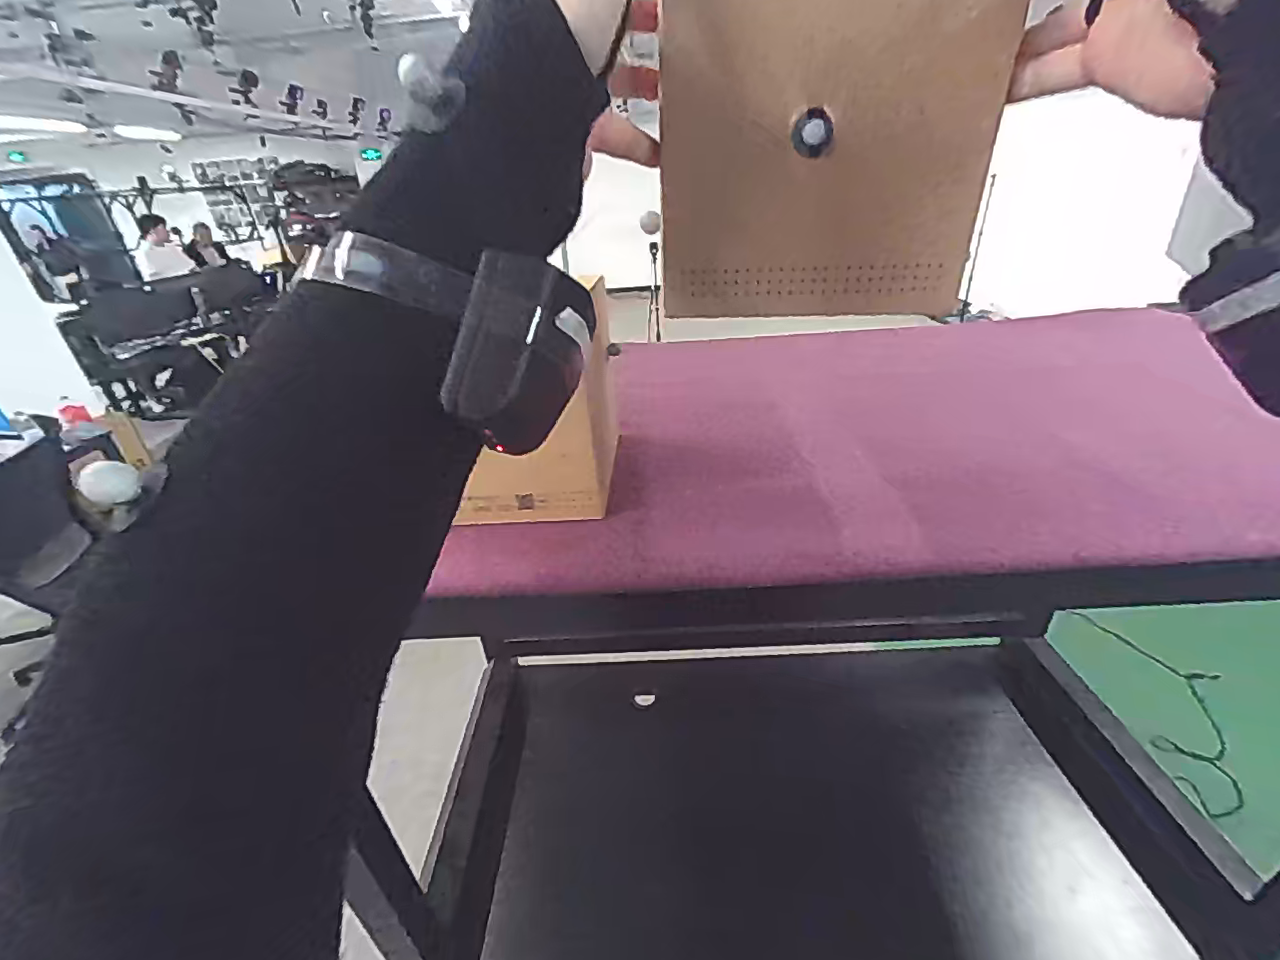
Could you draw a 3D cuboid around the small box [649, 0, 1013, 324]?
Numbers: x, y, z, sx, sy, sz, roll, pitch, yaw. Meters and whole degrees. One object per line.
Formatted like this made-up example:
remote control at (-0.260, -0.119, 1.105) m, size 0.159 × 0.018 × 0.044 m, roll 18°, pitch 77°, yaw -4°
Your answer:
small box at (0.100, -0.207, 0.364) m, size 0.179 × 0.176 × 0.168 m, roll 0°, pitch 28°, yaw 5°
